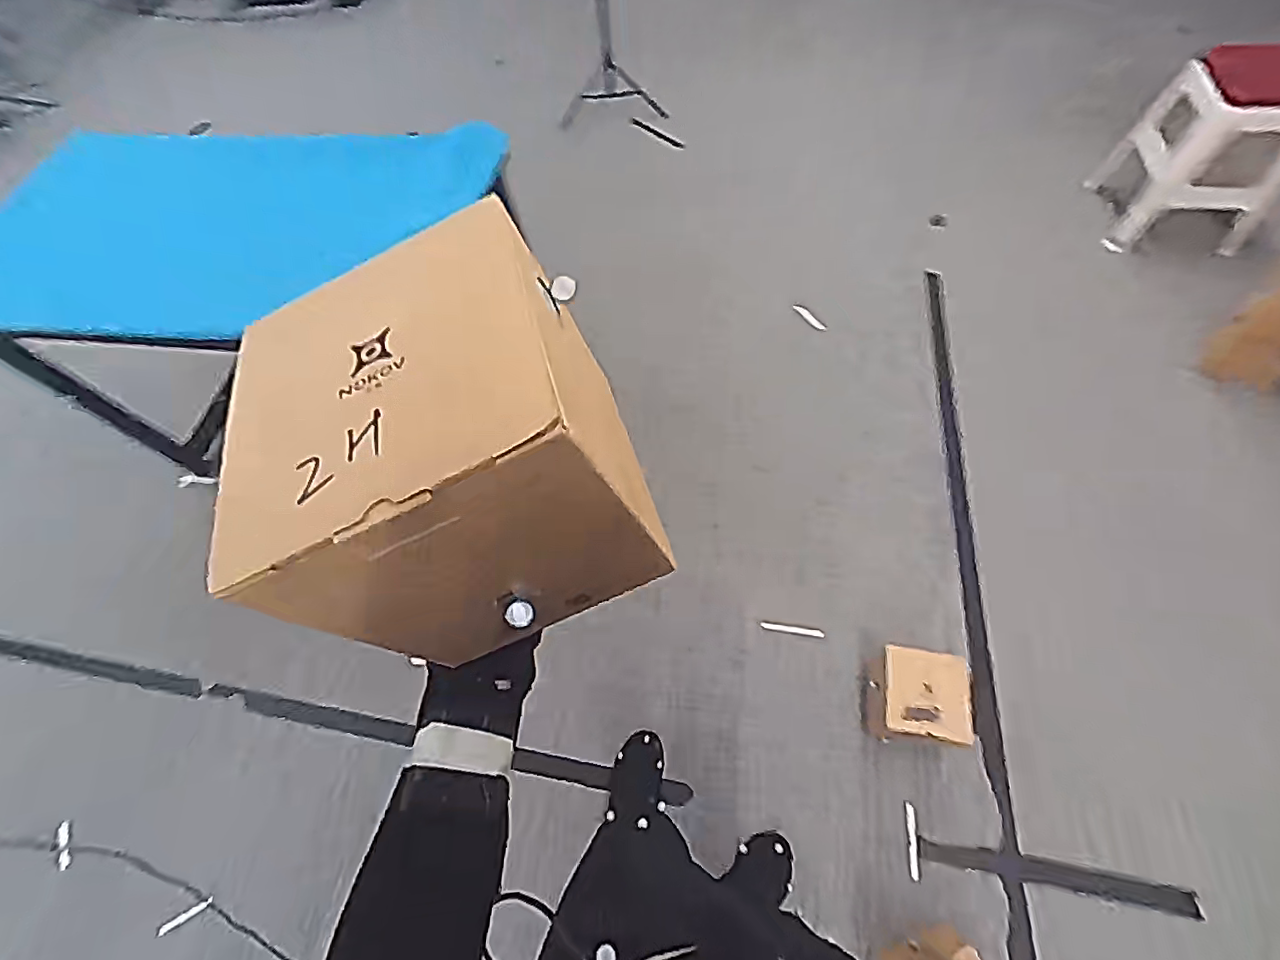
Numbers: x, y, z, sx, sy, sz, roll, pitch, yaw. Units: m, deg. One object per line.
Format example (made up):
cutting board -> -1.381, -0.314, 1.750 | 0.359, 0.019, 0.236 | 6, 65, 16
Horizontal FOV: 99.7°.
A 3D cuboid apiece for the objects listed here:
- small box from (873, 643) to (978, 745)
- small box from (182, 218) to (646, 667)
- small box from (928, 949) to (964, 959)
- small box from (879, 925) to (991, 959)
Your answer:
small box -> 0.632, 0.484, 1.212 | 0.168, 0.176, 0.179 | 8, 62, 11
small box -> -0.113, -0.006, 0.325 | 0.168, 0.176, 0.179 | -23, 59, 9
small box -> 0.533, 0.876, 0.831 | 0.179, 0.176, 0.168 | 28, 71, 19
small box -> 0.566, 0.949, 0.977 | 0.168, 0.176, 0.179 | -23, 63, -5
